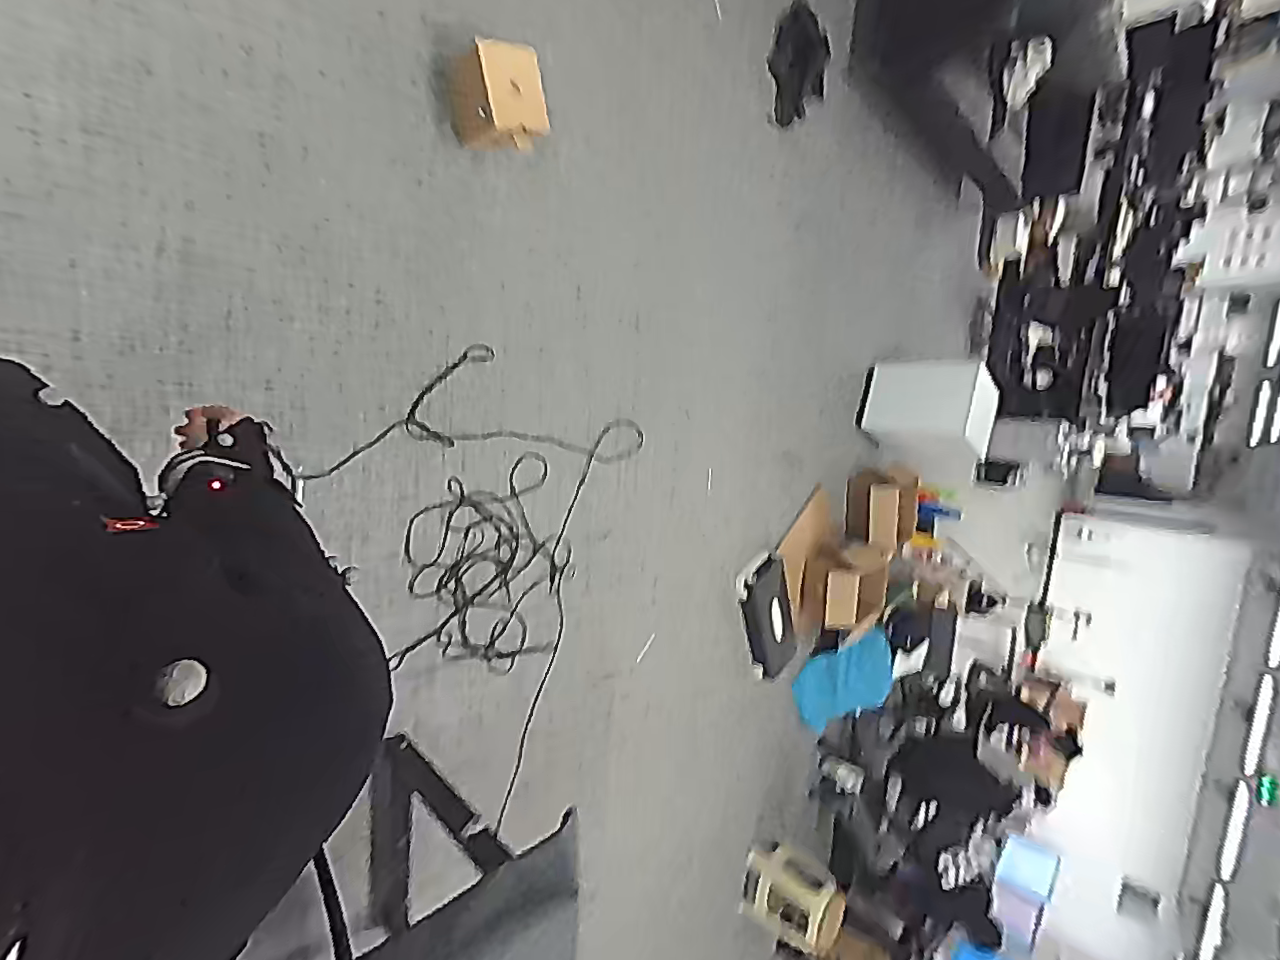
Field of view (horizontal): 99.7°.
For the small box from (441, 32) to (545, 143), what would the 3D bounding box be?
[{"bbox_3d":[-0.365,-0.956,1.333,0.168,0.176,0.179,-28,119,-39],"label":"small box"}]
